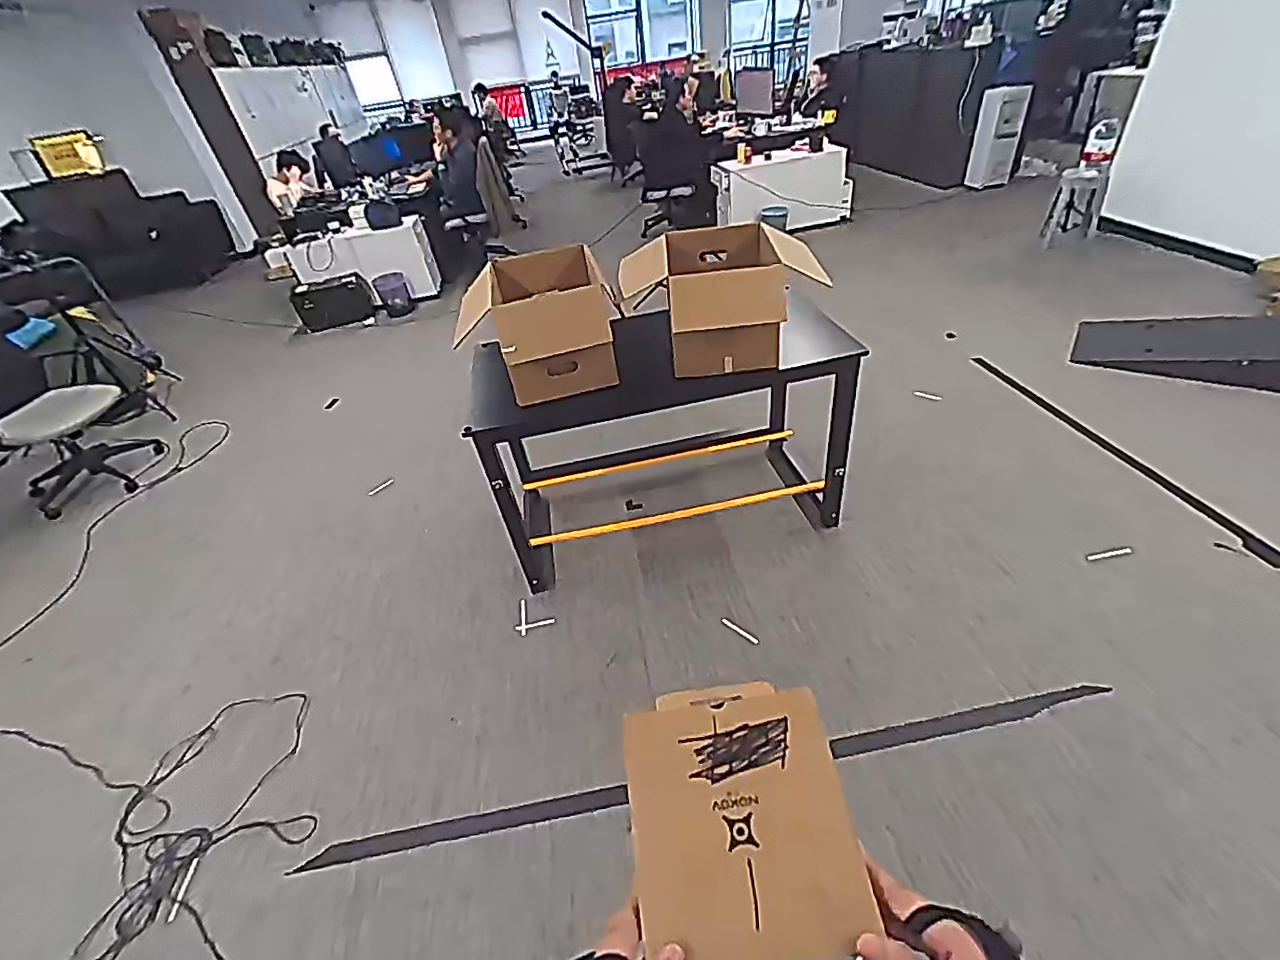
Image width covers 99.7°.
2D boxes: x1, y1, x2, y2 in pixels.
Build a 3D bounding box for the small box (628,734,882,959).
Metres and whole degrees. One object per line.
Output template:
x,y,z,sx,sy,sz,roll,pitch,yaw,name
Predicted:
0.081,0.338,0.461,0.168,0.176,0.179,-8,53,-1,small box
